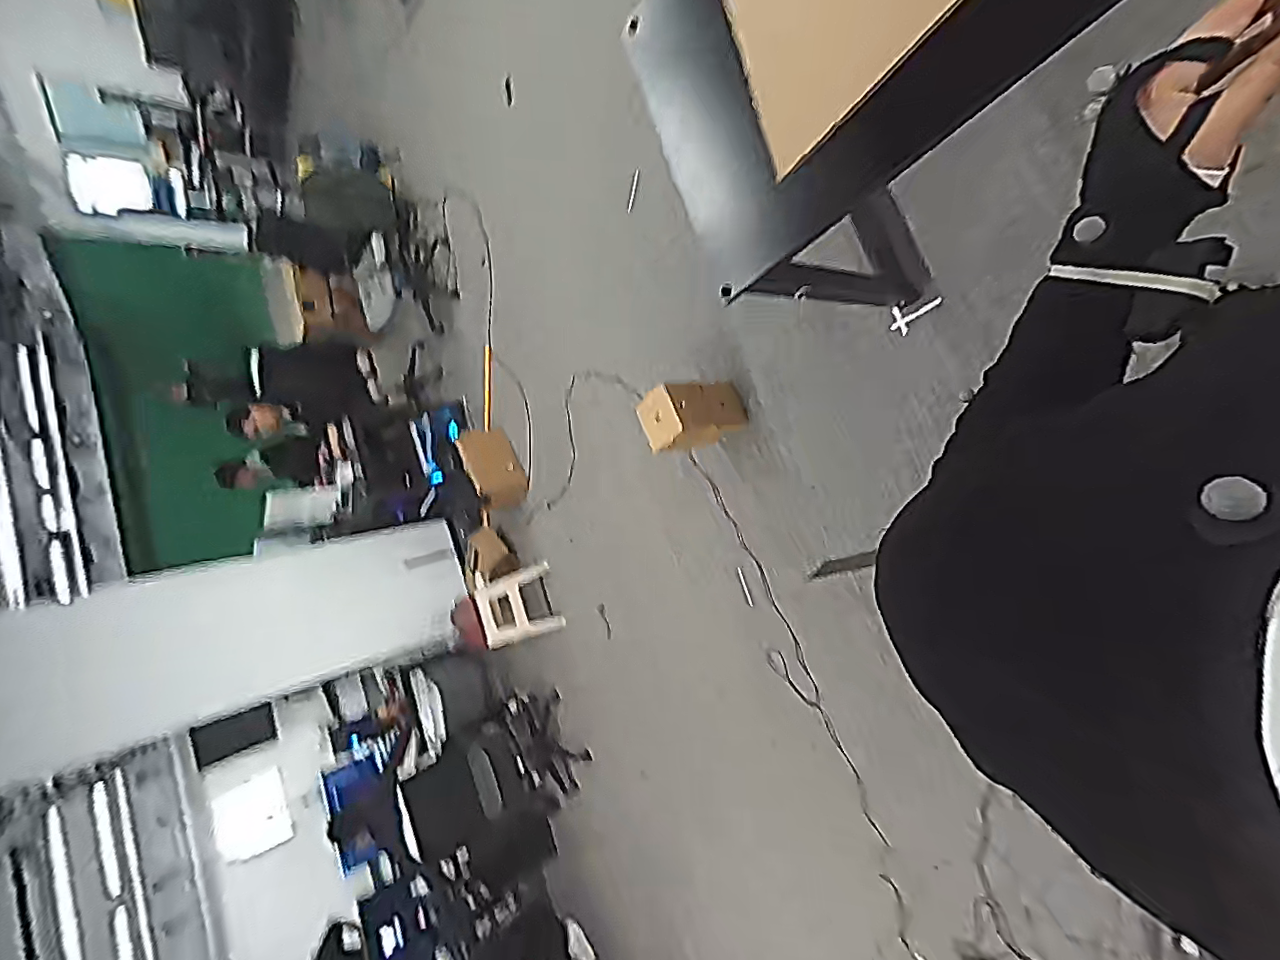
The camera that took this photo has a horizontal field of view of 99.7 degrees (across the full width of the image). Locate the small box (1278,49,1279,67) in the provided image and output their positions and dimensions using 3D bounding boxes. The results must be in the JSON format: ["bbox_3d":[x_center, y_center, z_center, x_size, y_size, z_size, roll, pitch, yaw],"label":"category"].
[{"bbox_3d":[0.455,-0.272,0.241,0.168,0.176,0.179,53,132,32],"label":"small box"}]

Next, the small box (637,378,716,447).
[{"bbox_3d":[0.125,-0.231,1.809,0.168,0.176,0.179,-37,70,47],"label":"small box"}]

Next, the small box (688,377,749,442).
[{"bbox_3d":[0.251,-0.252,1.911,0.168,0.176,0.179,-33,75,49],"label":"small box"}]
